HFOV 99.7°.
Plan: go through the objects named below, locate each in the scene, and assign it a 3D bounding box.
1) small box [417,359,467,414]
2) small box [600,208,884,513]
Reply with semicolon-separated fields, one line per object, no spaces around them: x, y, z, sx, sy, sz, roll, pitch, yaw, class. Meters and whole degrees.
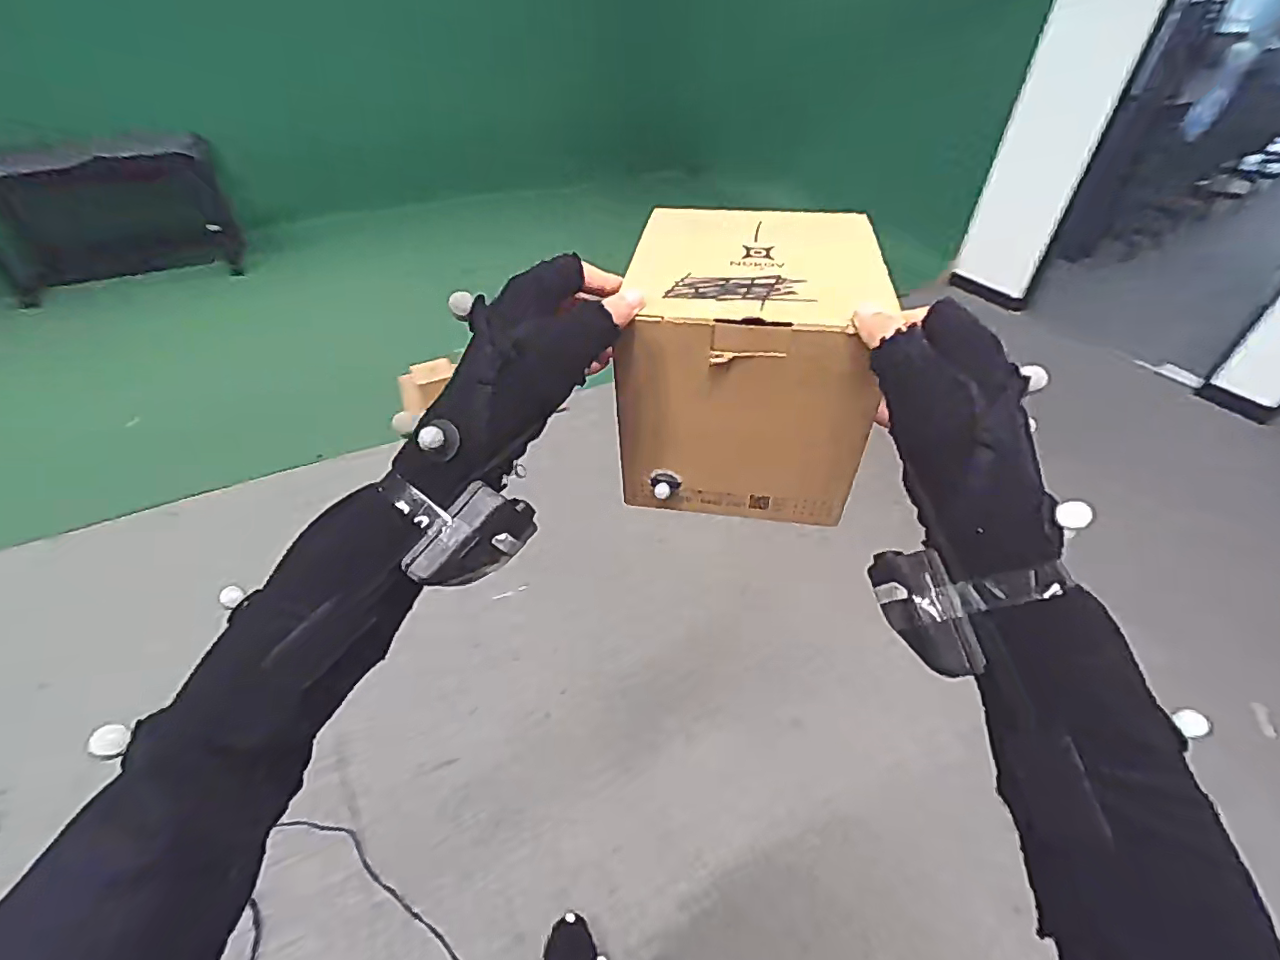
-0.915;-0.430;2.495;0.168;0.176;0.179;-19;46;-16;small box
0.073;-0.094;0.422;0.168;0.176;0.179;6;45;8;small box
